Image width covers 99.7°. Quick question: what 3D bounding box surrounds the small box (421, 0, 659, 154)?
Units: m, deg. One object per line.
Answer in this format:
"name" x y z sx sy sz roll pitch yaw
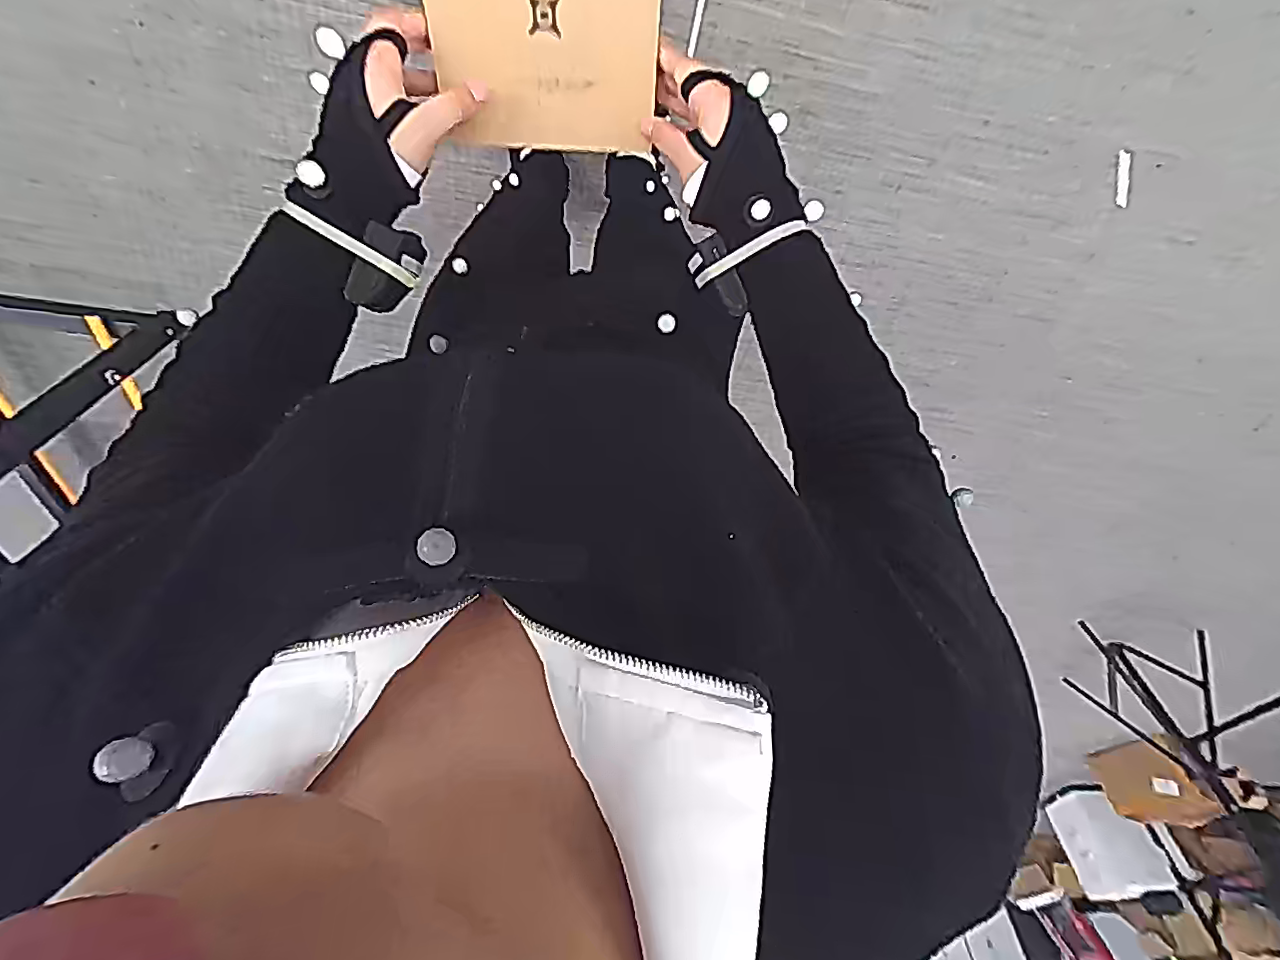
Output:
"small box" -0.074 -0.386 0.430 0.168 0.176 0.179 0 138 -4
